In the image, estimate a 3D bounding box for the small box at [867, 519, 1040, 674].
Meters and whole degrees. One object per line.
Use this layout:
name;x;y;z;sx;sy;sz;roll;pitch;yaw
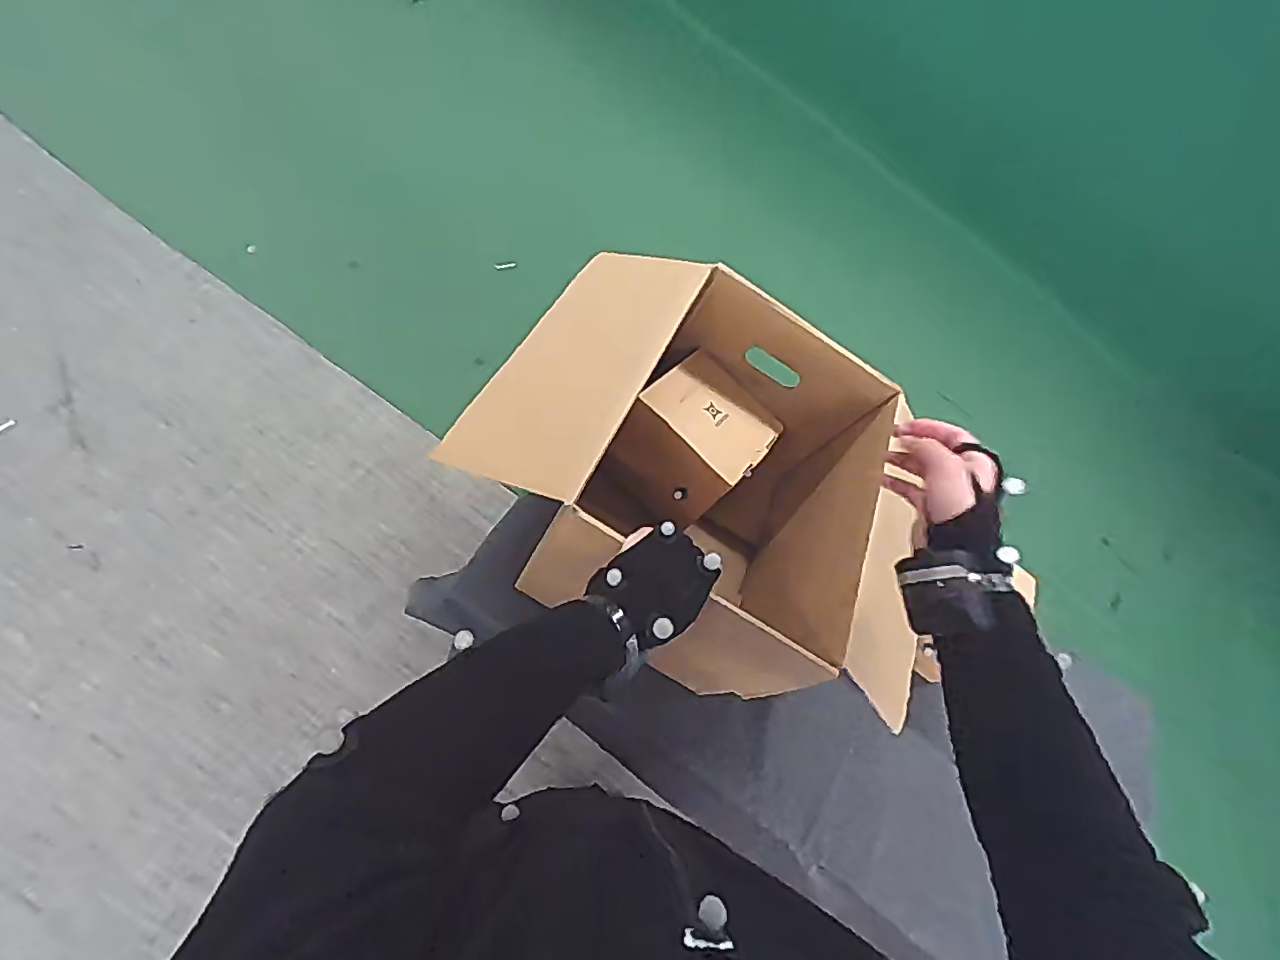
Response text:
small box;0.512;0.202;0.900;0.168;0.176;0.179;40;59;-1
